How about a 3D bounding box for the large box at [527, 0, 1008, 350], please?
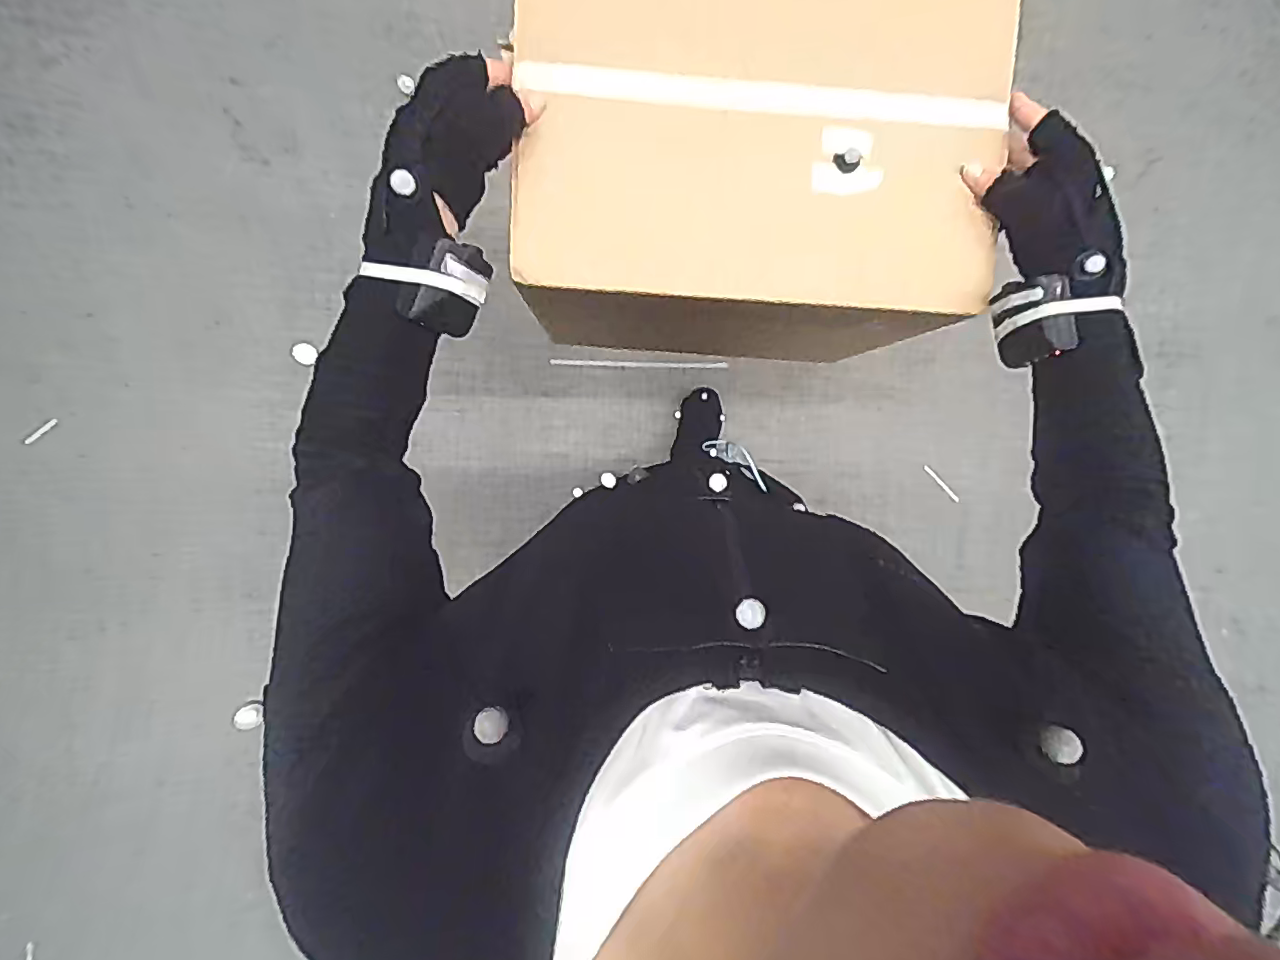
[{"bbox_3d":[0.096,-0.329,0.596,0.408,0.320,0.320,2,95,-4],"label":"large box"}]
